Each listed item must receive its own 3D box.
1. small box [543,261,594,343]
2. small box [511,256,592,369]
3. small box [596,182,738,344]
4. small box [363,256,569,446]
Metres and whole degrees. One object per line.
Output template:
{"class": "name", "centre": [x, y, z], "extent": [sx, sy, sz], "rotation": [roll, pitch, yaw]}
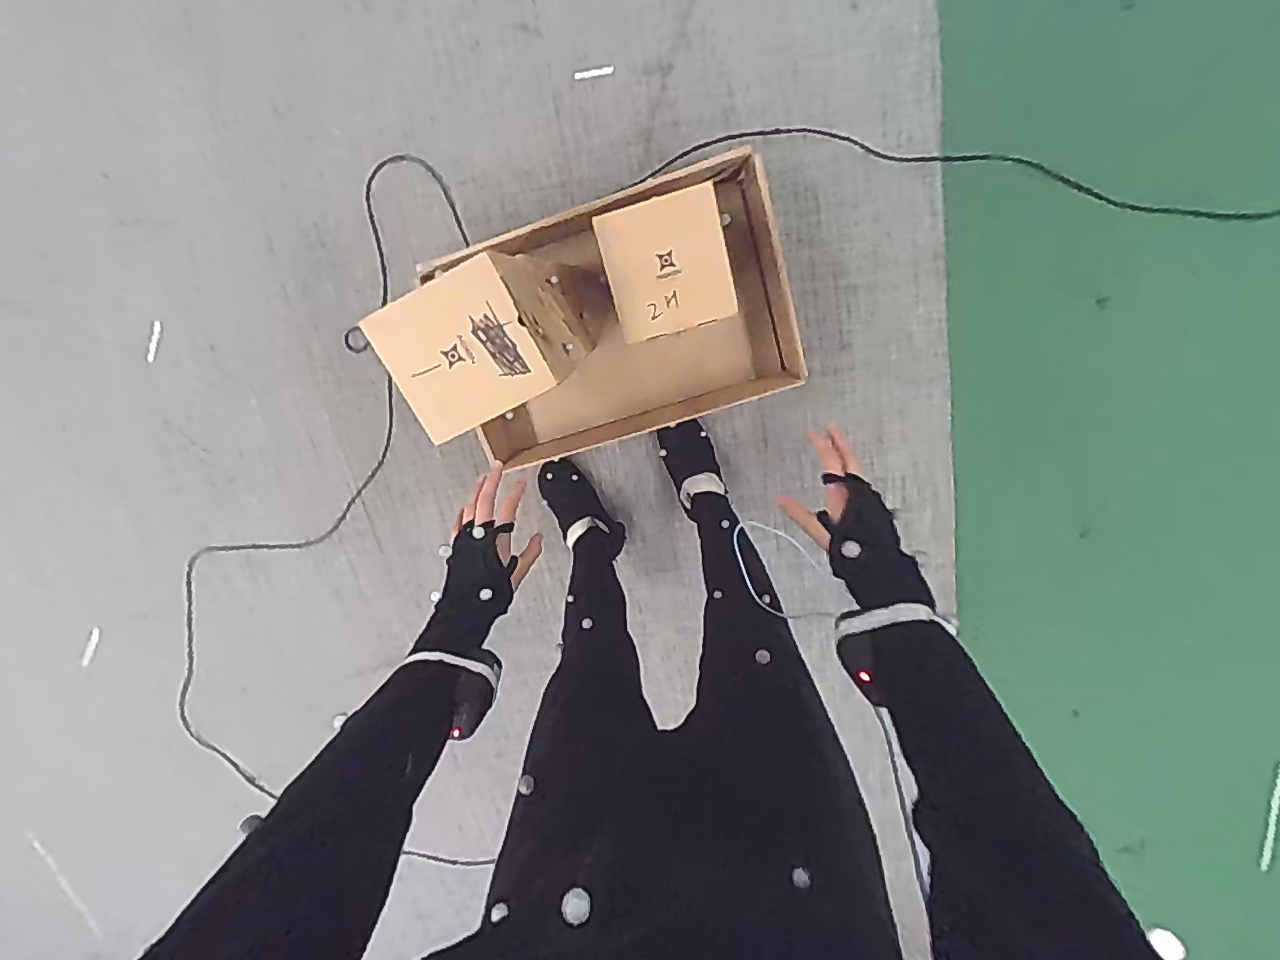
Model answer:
{"class": "small box", "centre": [-0.196, -0.293, 1.003], "extent": [0.179, 0.176, 0.168], "rotation": [-16, 108, 6]}
{"class": "small box", "centre": [-0.189, -0.229, 0.853], "extent": [0.179, 0.176, 0.168], "rotation": [-31, 105, 12]}
{"class": "small box", "centre": [0.042, -0.313, 0.809], "extent": [0.168, 0.176, 0.179], "rotation": [-13, 108, 8]}
{"class": "small box", "centre": [-0.205, -0.171, 0.700], "extent": [0.179, 0.176, 0.168], "rotation": [-24, 106, 10]}
